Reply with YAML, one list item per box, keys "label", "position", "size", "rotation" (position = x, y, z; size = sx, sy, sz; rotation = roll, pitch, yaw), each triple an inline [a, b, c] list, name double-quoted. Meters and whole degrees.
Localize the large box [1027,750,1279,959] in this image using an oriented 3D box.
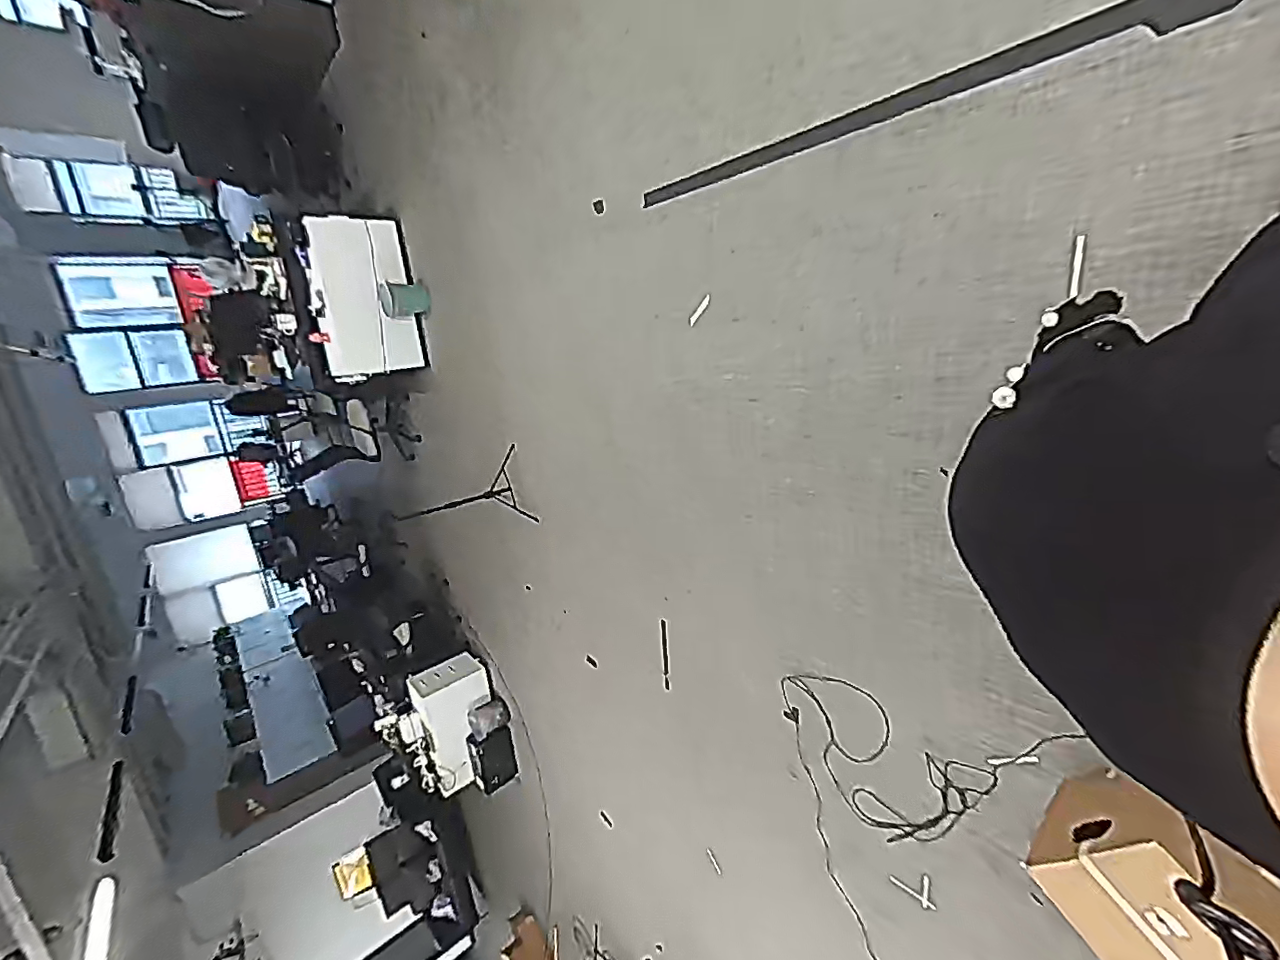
- label: "large box"
  position: [1.158, 0.873, 1.139]
  size: [0.408, 0.320, 0.320]
  rotation: [52, 138, 24]
